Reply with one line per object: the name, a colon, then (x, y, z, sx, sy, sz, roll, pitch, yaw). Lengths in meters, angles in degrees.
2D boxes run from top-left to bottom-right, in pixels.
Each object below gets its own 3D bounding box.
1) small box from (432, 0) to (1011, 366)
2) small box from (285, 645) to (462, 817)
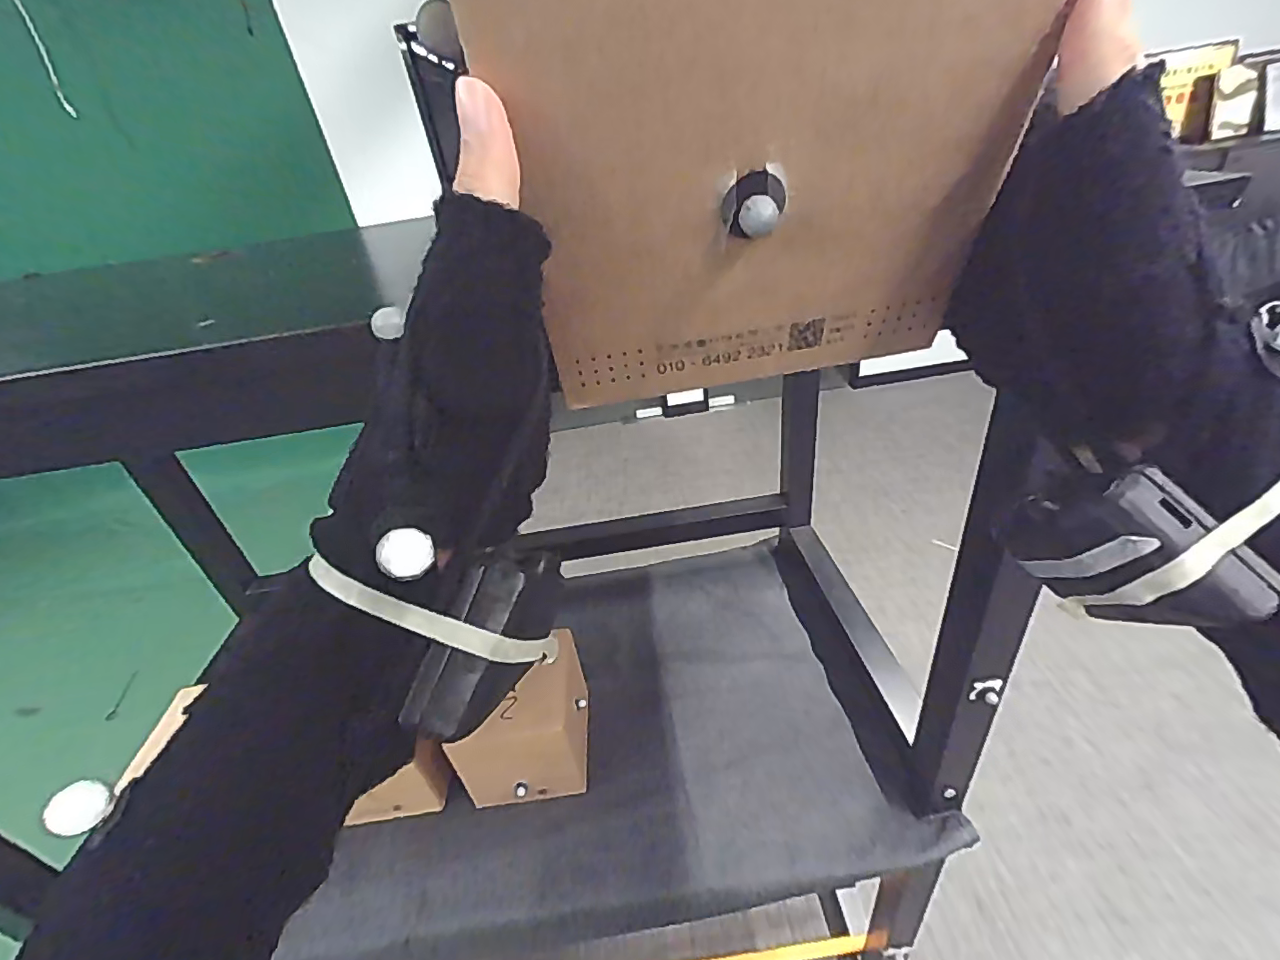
small box: (0.024, -0.164, 0.226, 0.168, 0.176, 0.179, -10, 52, -1)
small box: (-0.387, 0.387, 0.827, 0.168, 0.176, 0.179, -8, 32, 0)
